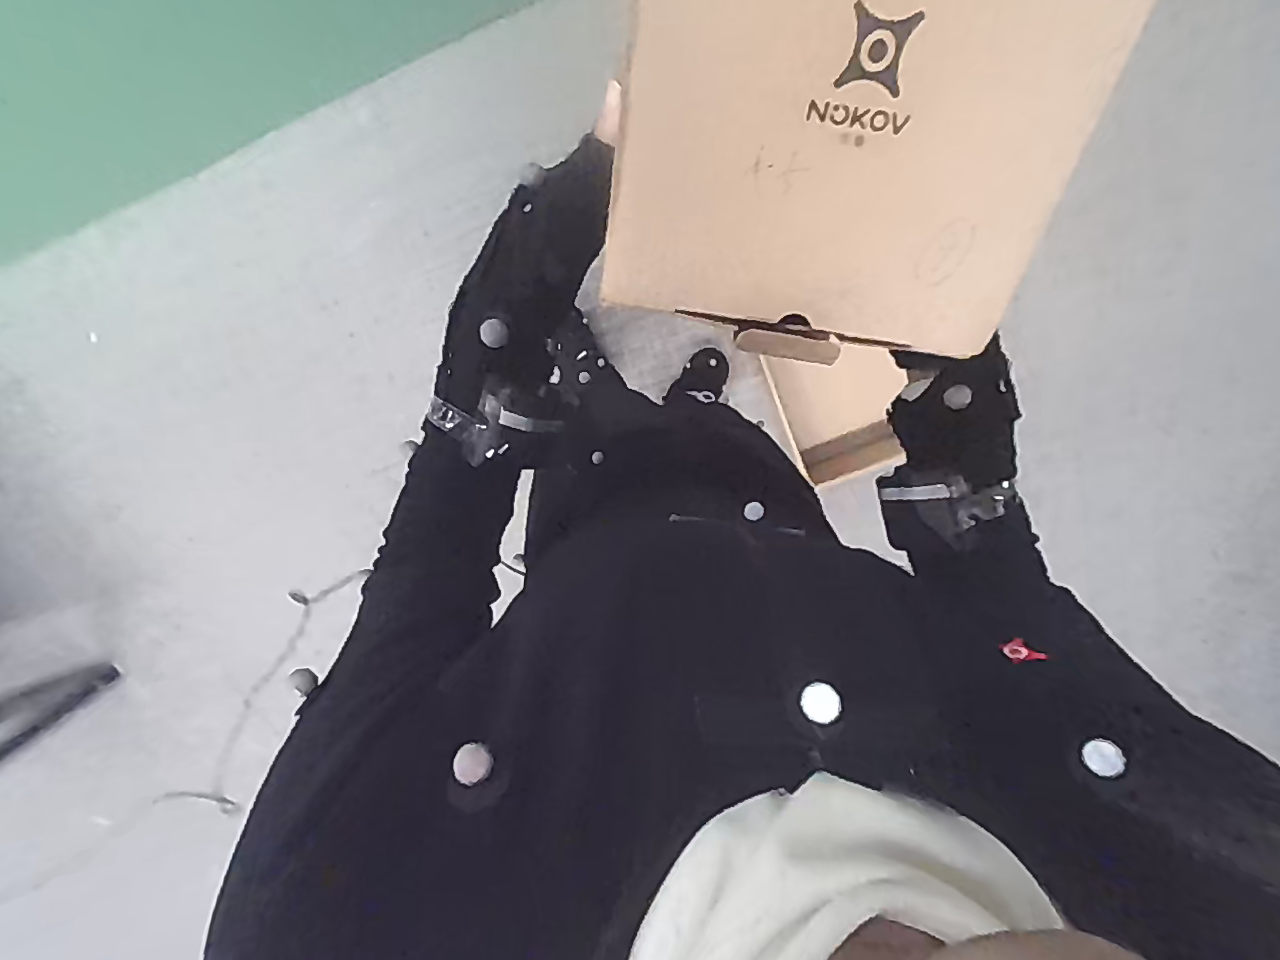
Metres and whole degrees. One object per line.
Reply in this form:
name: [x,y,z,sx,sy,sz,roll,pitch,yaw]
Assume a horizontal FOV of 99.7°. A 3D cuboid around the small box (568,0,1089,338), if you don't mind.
small box: [0.064,-0.189,0.255,0.168,0.176,0.179,7,124,-3]
